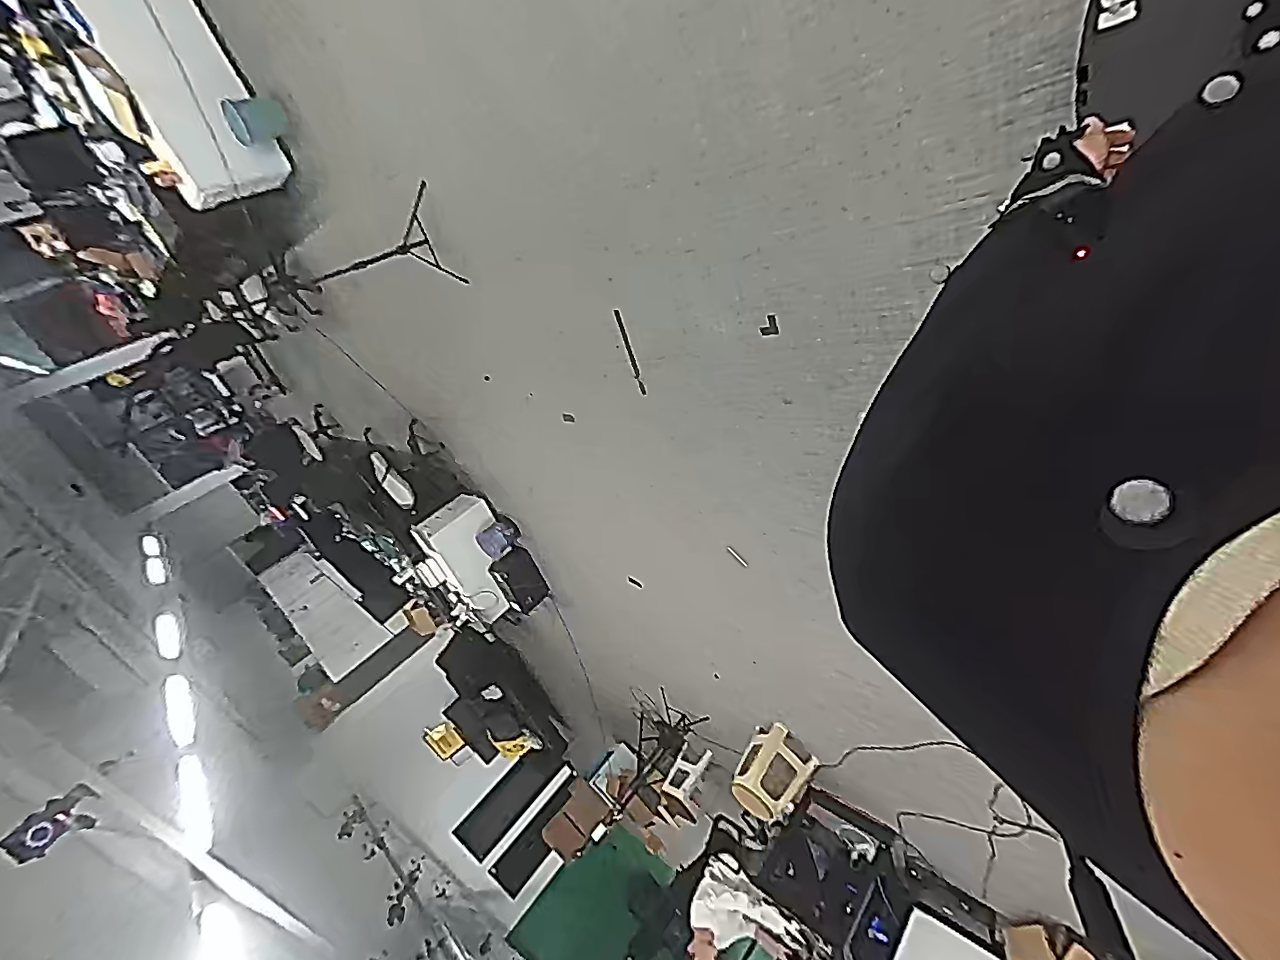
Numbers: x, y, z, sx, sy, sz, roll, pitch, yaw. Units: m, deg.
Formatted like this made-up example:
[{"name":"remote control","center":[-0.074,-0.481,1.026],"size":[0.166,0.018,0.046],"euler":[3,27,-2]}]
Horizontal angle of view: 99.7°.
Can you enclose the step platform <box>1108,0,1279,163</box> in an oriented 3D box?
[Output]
[{"name":"step platform","center":[1.079,-0.658,0.725],"size":[0.684,0.204,0.286],"euler":[13,132,42]}]
